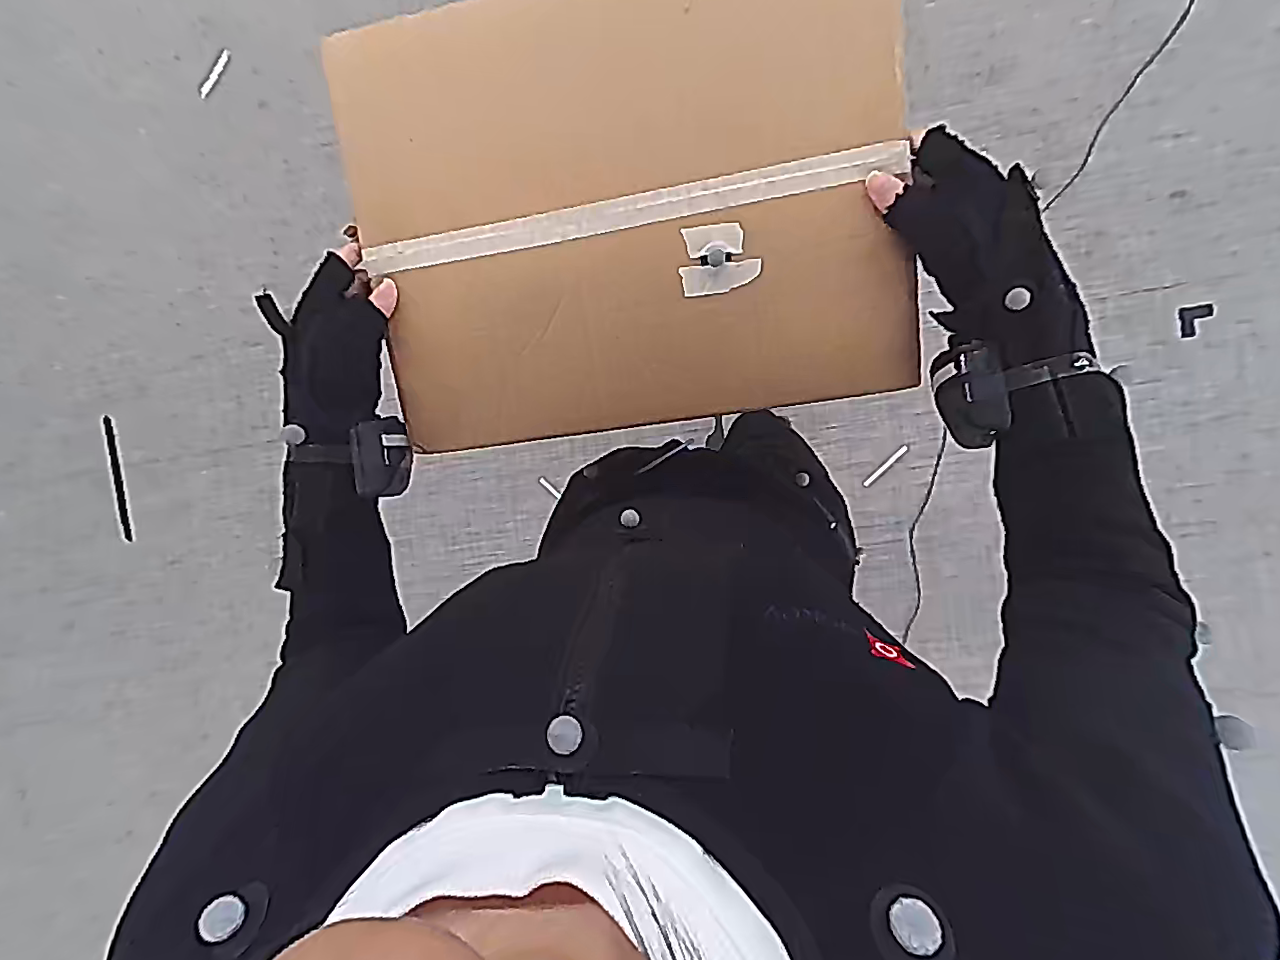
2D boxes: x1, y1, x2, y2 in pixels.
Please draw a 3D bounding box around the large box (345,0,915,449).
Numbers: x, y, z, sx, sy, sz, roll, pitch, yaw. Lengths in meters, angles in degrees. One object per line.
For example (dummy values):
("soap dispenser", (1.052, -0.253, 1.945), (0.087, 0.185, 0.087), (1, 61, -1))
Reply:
("large box", (0.005, -0.231, 0.557), (0.408, 0.320, 0.320), (-8, 101, 7))
